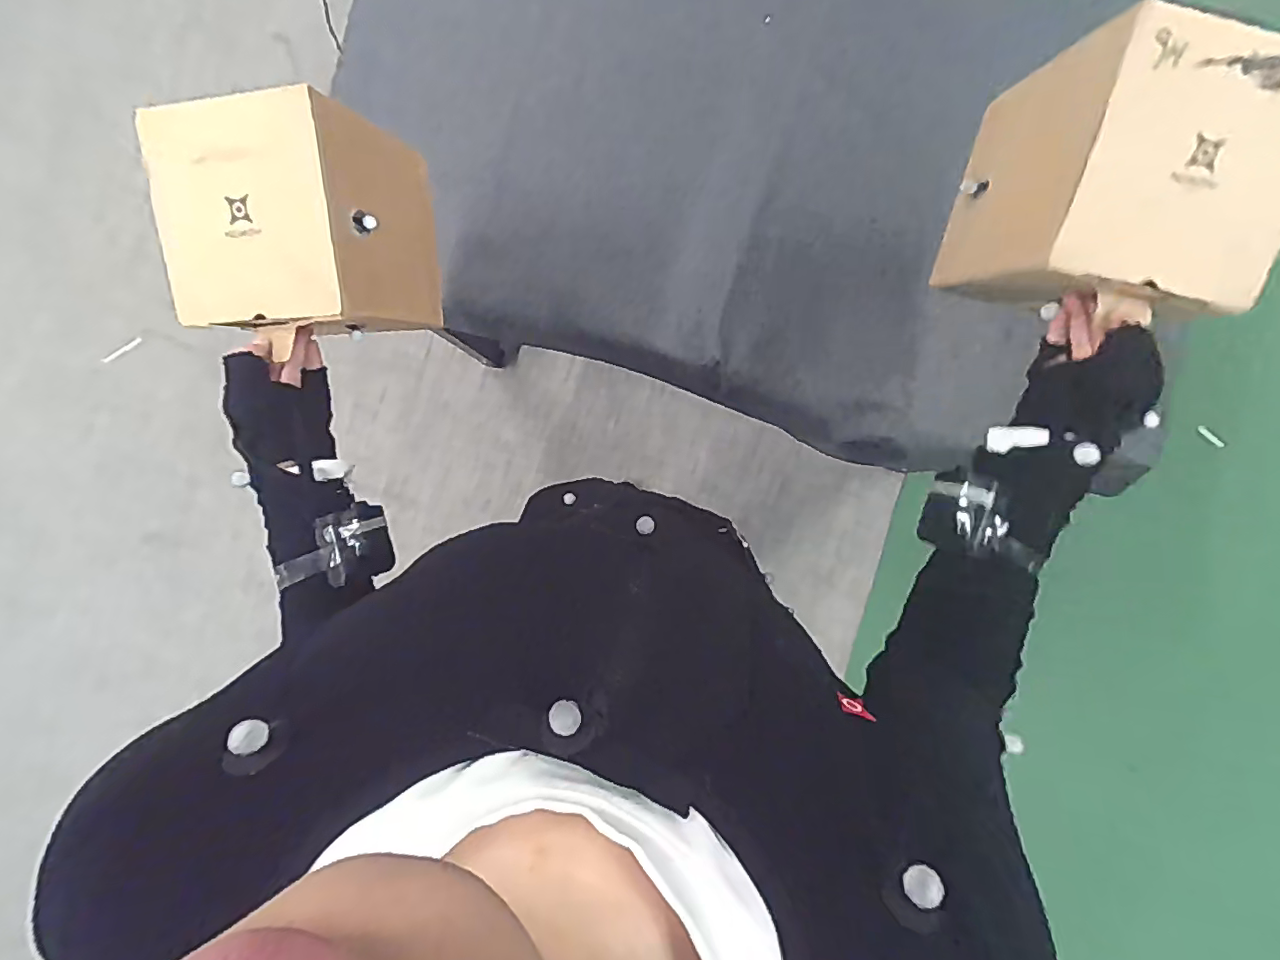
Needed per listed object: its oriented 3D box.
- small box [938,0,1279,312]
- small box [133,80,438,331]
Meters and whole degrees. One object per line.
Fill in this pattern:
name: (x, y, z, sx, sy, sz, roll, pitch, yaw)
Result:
small box: (0.394, -0.250, 0.466, 0.168, 0.176, 0.179, 12, 104, -4)
small box: (-0.314, -0.238, 0.520, 0.168, 0.176, 0.179, -1, 102, 9)
